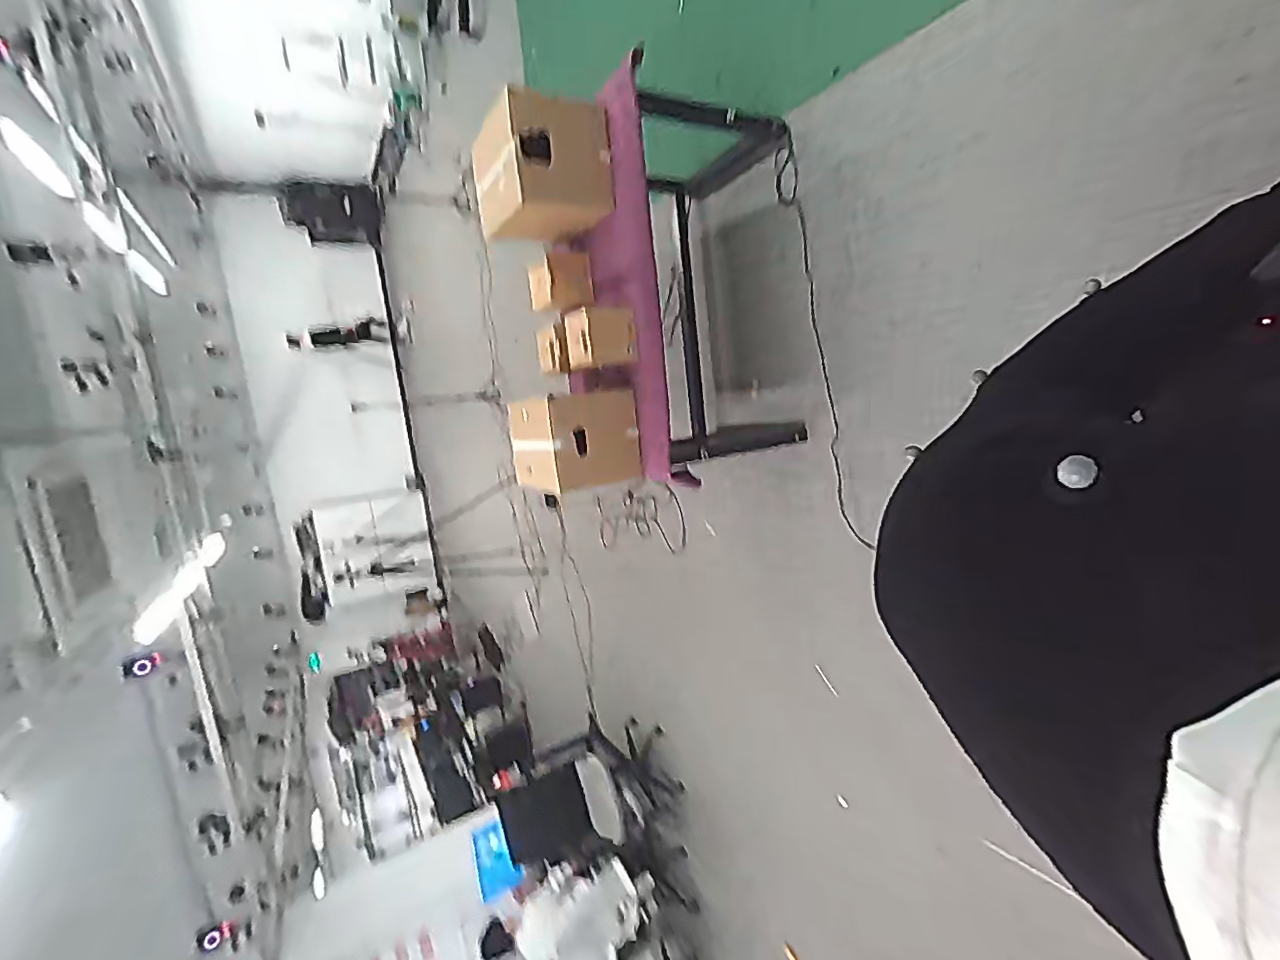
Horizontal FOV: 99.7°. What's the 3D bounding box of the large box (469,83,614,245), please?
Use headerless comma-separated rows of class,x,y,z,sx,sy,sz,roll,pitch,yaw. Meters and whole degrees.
large box,-0.328,-0.987,1.755,0.408,0.320,0.320,9,109,57
